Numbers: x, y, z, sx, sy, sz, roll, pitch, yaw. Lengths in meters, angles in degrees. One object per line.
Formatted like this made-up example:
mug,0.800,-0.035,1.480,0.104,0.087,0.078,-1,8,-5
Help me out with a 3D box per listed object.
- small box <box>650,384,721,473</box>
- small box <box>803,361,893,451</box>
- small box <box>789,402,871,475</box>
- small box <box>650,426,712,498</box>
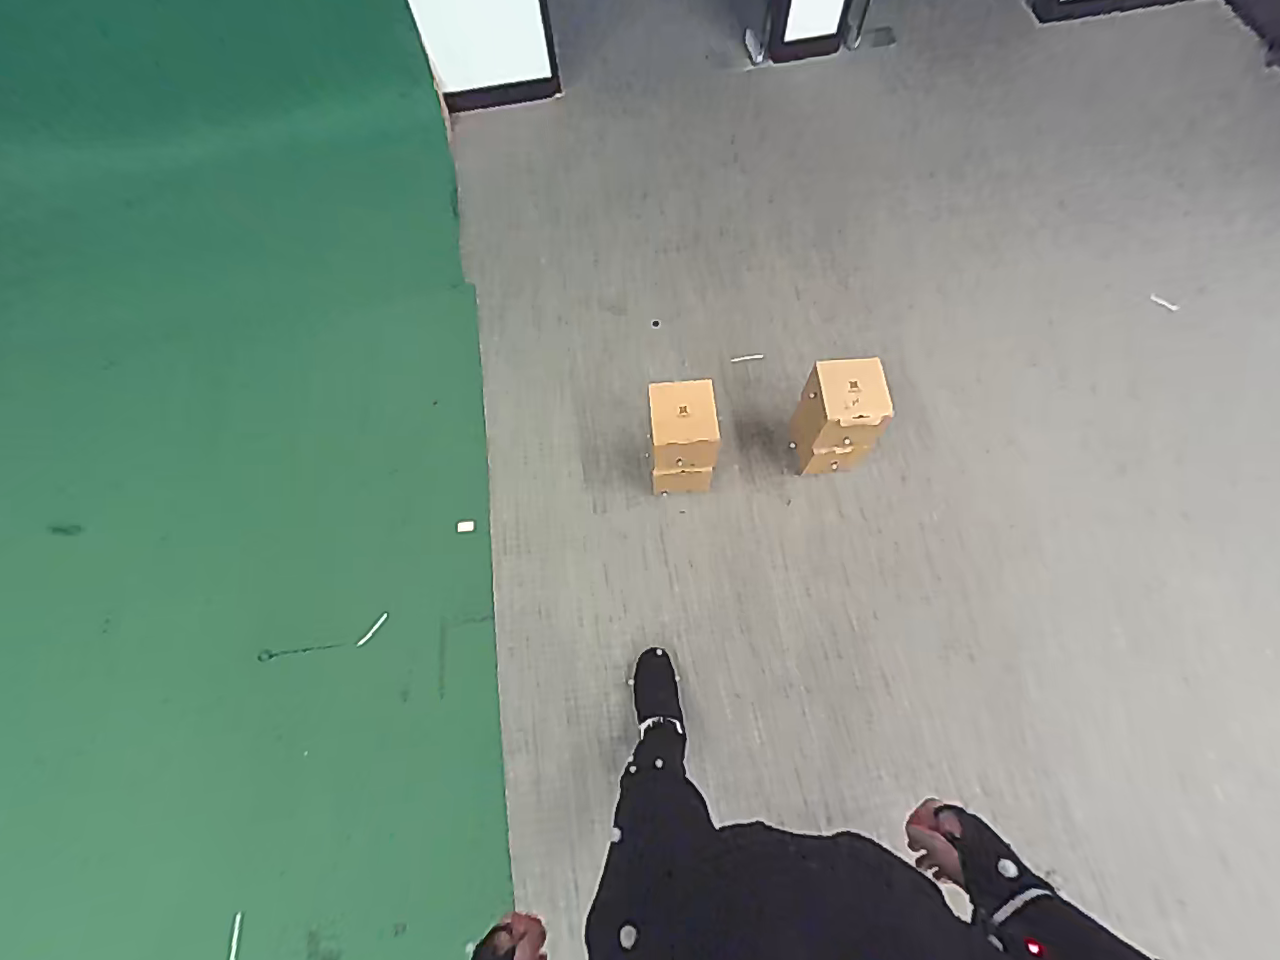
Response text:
small box,0.115,-0.134,1.432,0.168,0.176,0.179,-5,69,-1
small box,0.542,-0.193,1.438,0.168,0.176,0.179,-4,68,2
small box,0.549,-0.123,1.587,0.168,0.176,0.179,-7,69,-1
small box,0.117,-0.053,1.593,0.168,0.176,0.179,-4,67,-1
